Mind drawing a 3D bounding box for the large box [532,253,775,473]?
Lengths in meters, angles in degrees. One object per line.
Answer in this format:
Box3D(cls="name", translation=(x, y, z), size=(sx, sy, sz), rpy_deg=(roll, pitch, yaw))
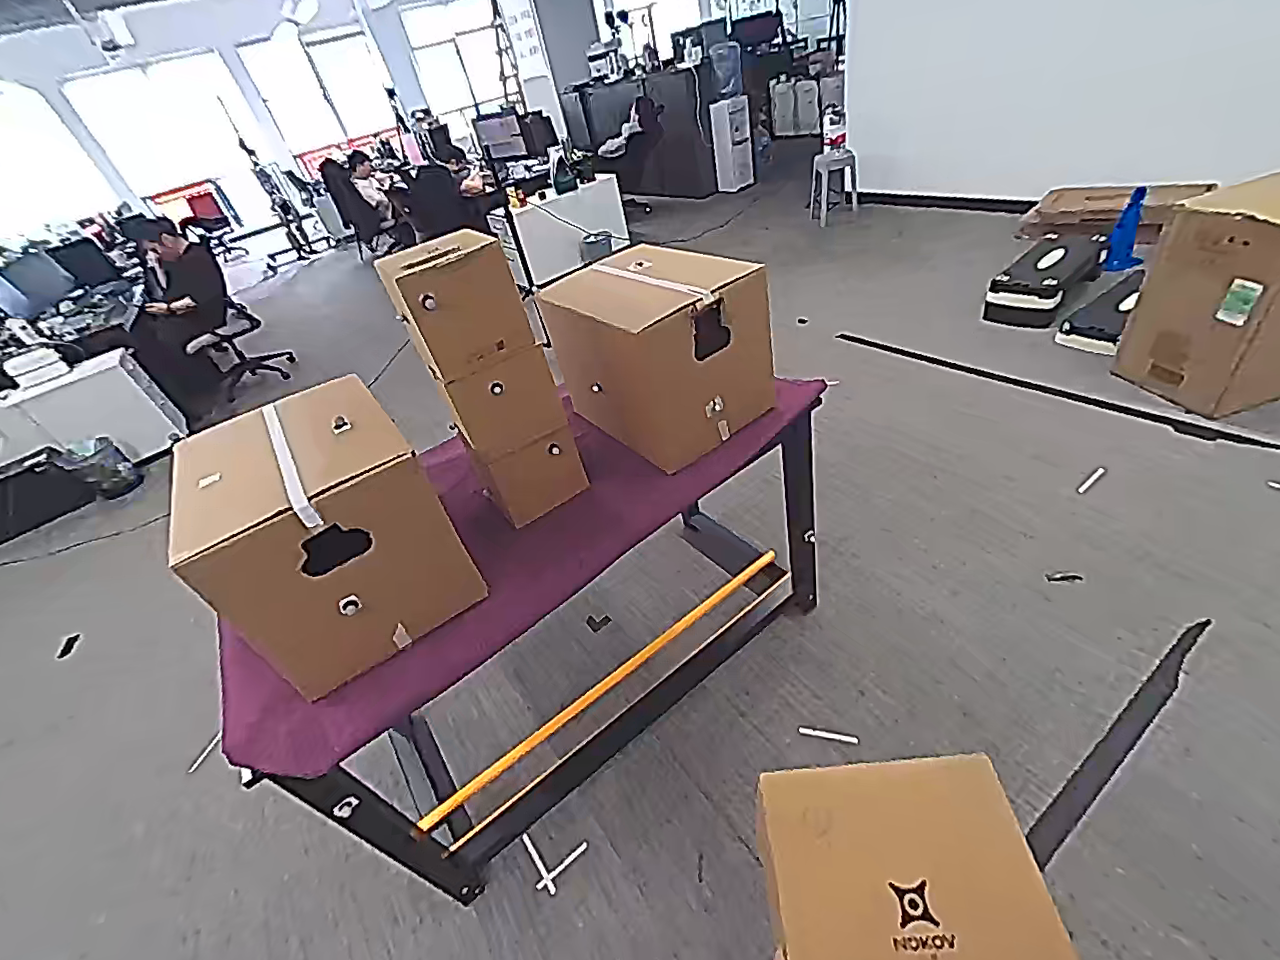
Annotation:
Box3D(cls="large box", translation=(0.032, -0.272, 1.179), size=(0.320, 0.320, 0.408), rpy_deg=(-32, 40, -22))
